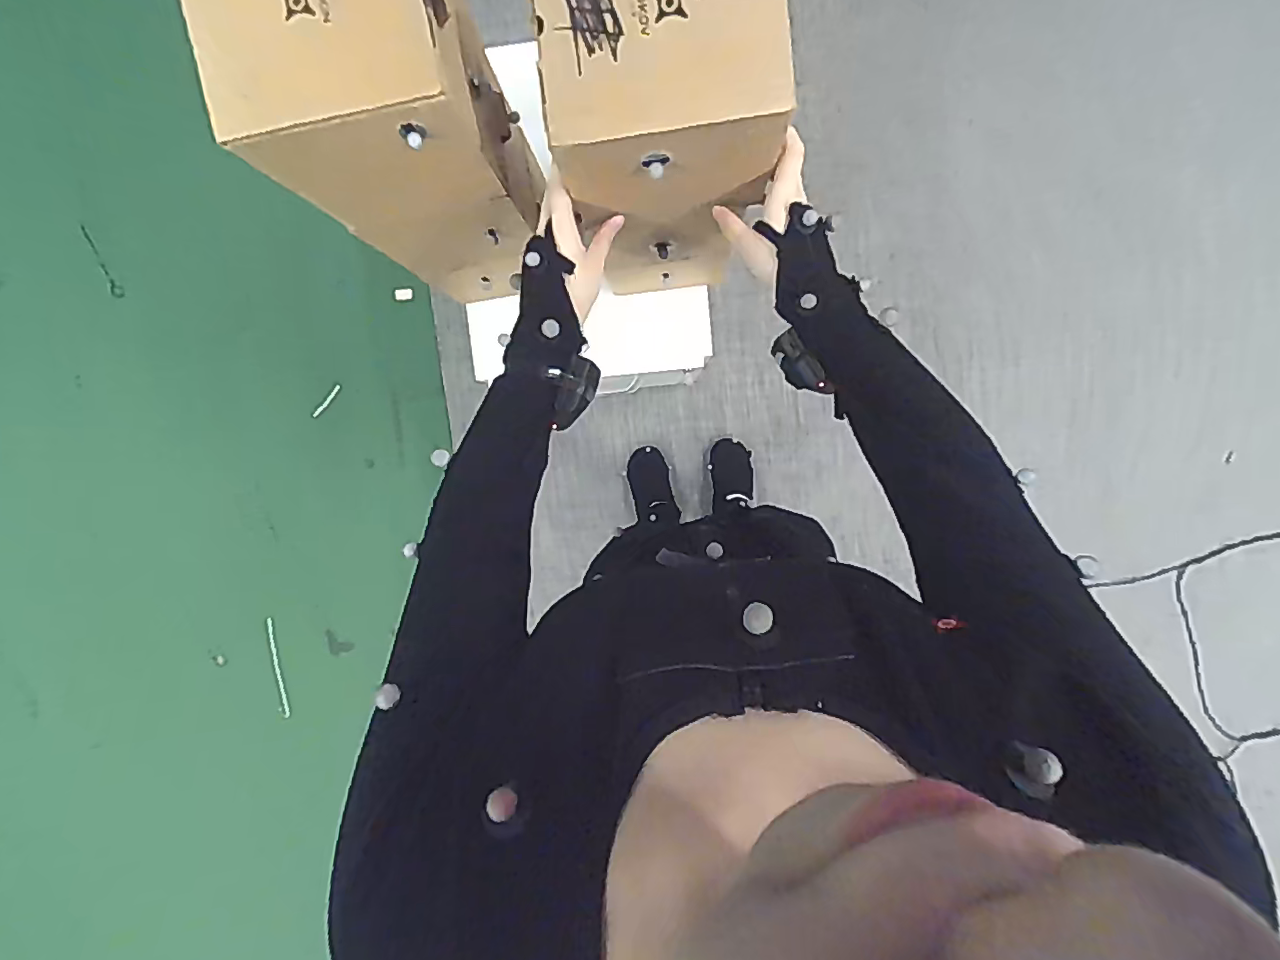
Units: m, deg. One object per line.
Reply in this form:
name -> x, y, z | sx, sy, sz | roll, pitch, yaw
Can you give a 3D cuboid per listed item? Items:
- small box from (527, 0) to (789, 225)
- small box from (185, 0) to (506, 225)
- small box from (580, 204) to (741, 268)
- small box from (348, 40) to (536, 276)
small box -> 0.015, -0.332, 0.453 | 0.179, 0.176, 0.168 | -6, 97, 4
small box -> -0.236, -0.344, 0.467 | 0.179, 0.176, 0.168 | -11, 95, 2
small box -> 0.019, -0.353, 0.616 | 0.168, 0.176, 0.179 | -6, 96, 4
small box -> -0.229, -0.356, 0.630 | 0.179, 0.176, 0.168 | -11, 94, 3
